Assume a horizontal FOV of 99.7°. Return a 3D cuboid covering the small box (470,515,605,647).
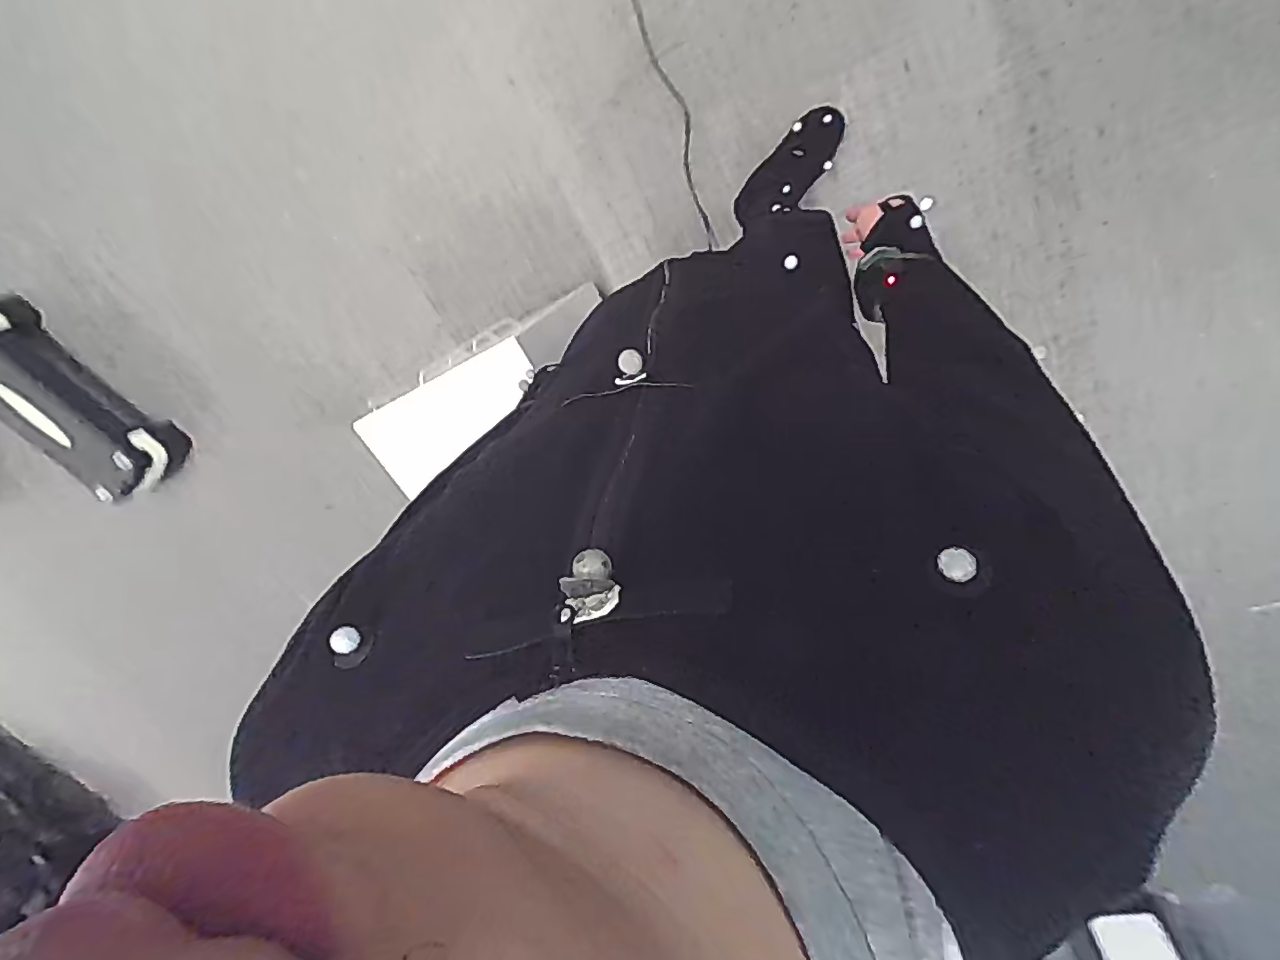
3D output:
[{"bbox_3d":[-0.190,0.188,1.055,0.168,0.176,0.179,-21,114,21],"label":"small box"}]
